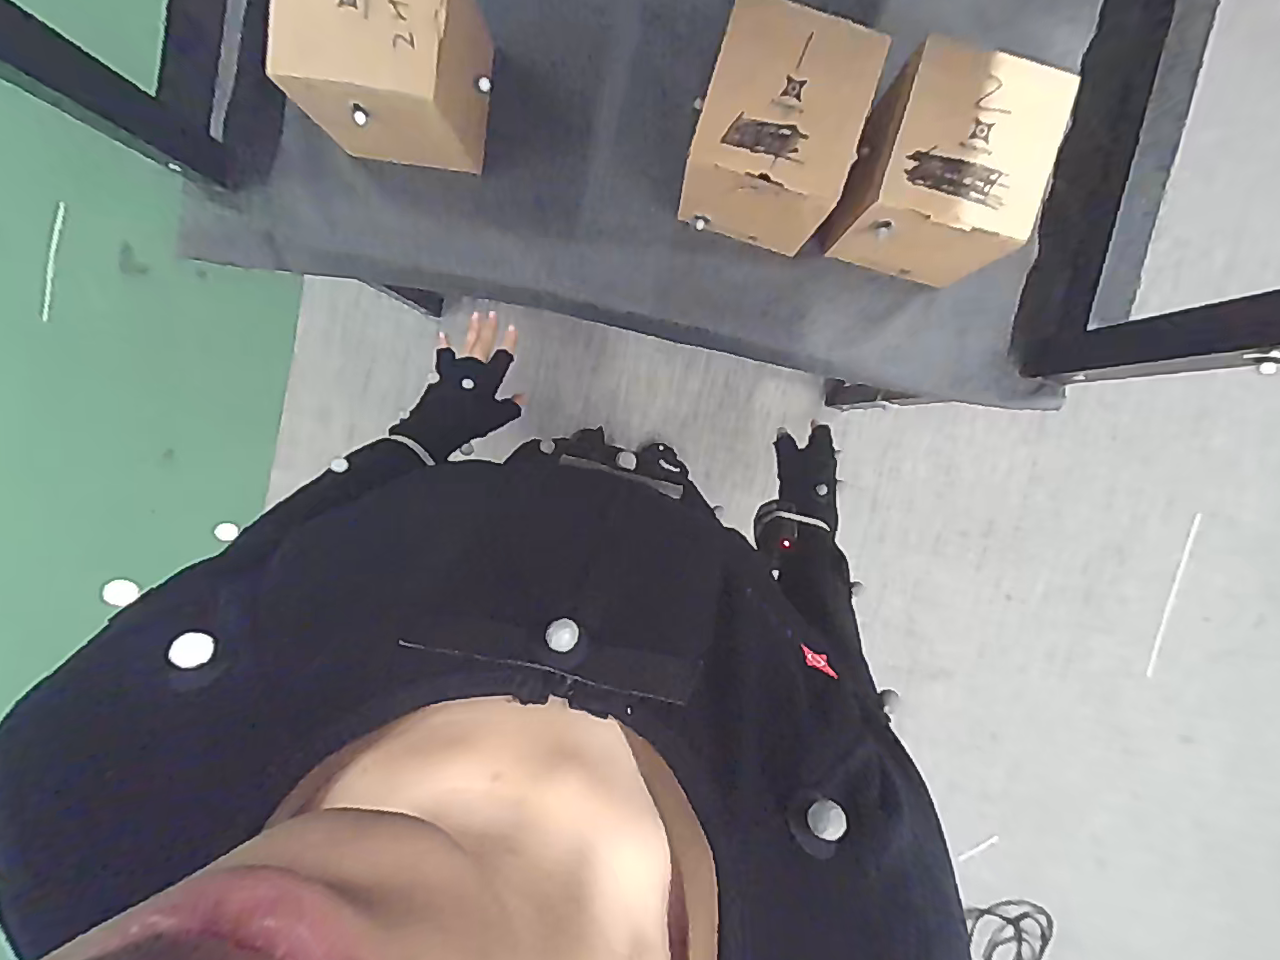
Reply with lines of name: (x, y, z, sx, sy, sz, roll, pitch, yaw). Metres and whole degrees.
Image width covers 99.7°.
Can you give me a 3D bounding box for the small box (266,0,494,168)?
small box: (-0.285, -0.491, 0.625, 0.179, 0.176, 0.168, 8, 96, -1)
